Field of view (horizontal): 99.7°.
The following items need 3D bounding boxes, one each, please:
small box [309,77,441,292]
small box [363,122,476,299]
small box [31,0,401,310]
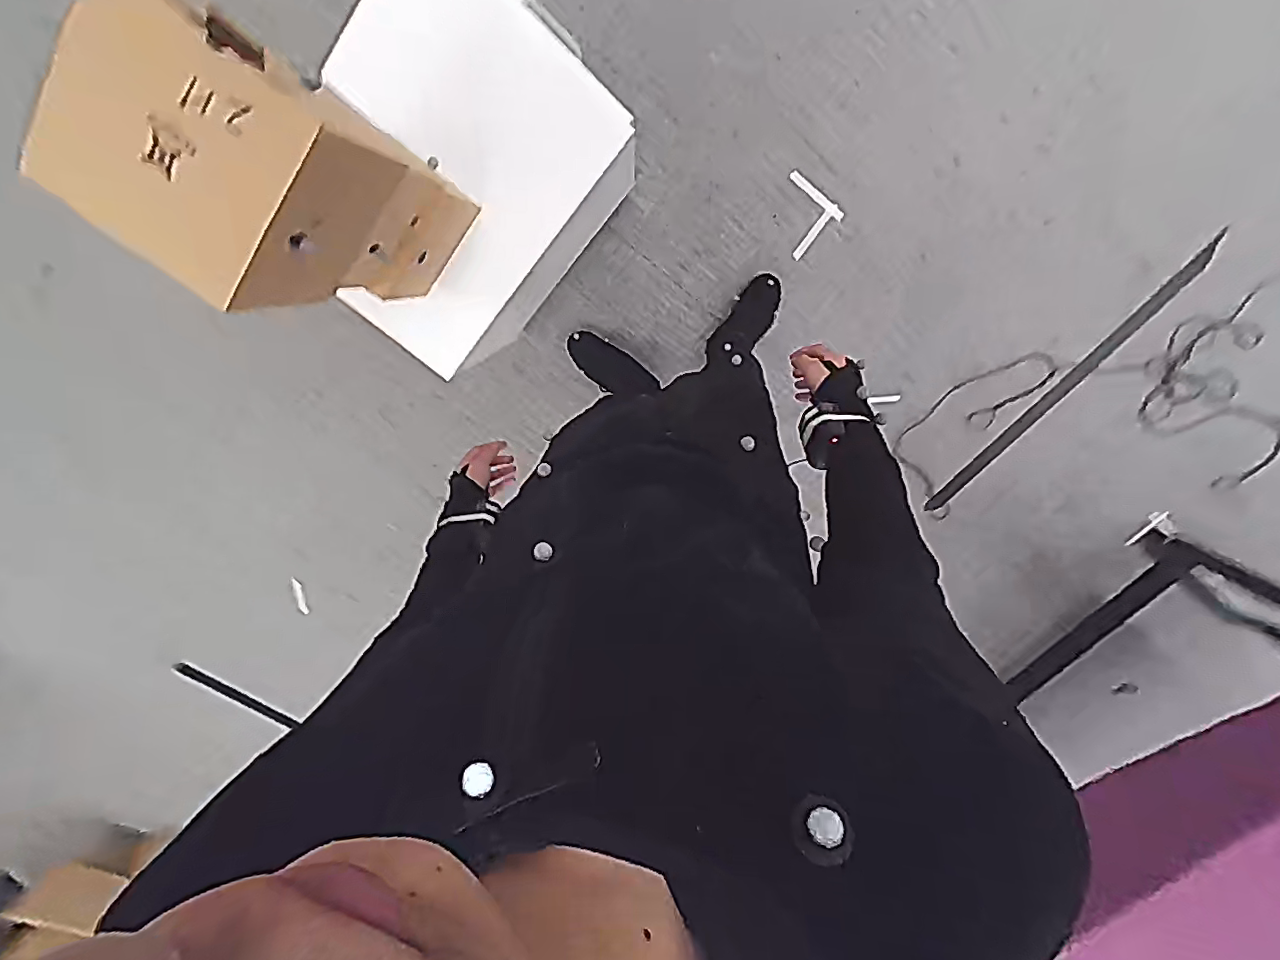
[{"bbox_3d":[-0.365,-0.346,0.631,0.179,0.176,0.168,37,106,-13],"label":"small box"},{"bbox_3d":[-0.365,-0.388,0.788,0.168,0.176,0.179,36,106,-14],"label":"small box"},{"bbox_3d":[-0.348,-0.277,0.481,0.168,0.176,0.179,37,106,-14],"label":"small box"}]
